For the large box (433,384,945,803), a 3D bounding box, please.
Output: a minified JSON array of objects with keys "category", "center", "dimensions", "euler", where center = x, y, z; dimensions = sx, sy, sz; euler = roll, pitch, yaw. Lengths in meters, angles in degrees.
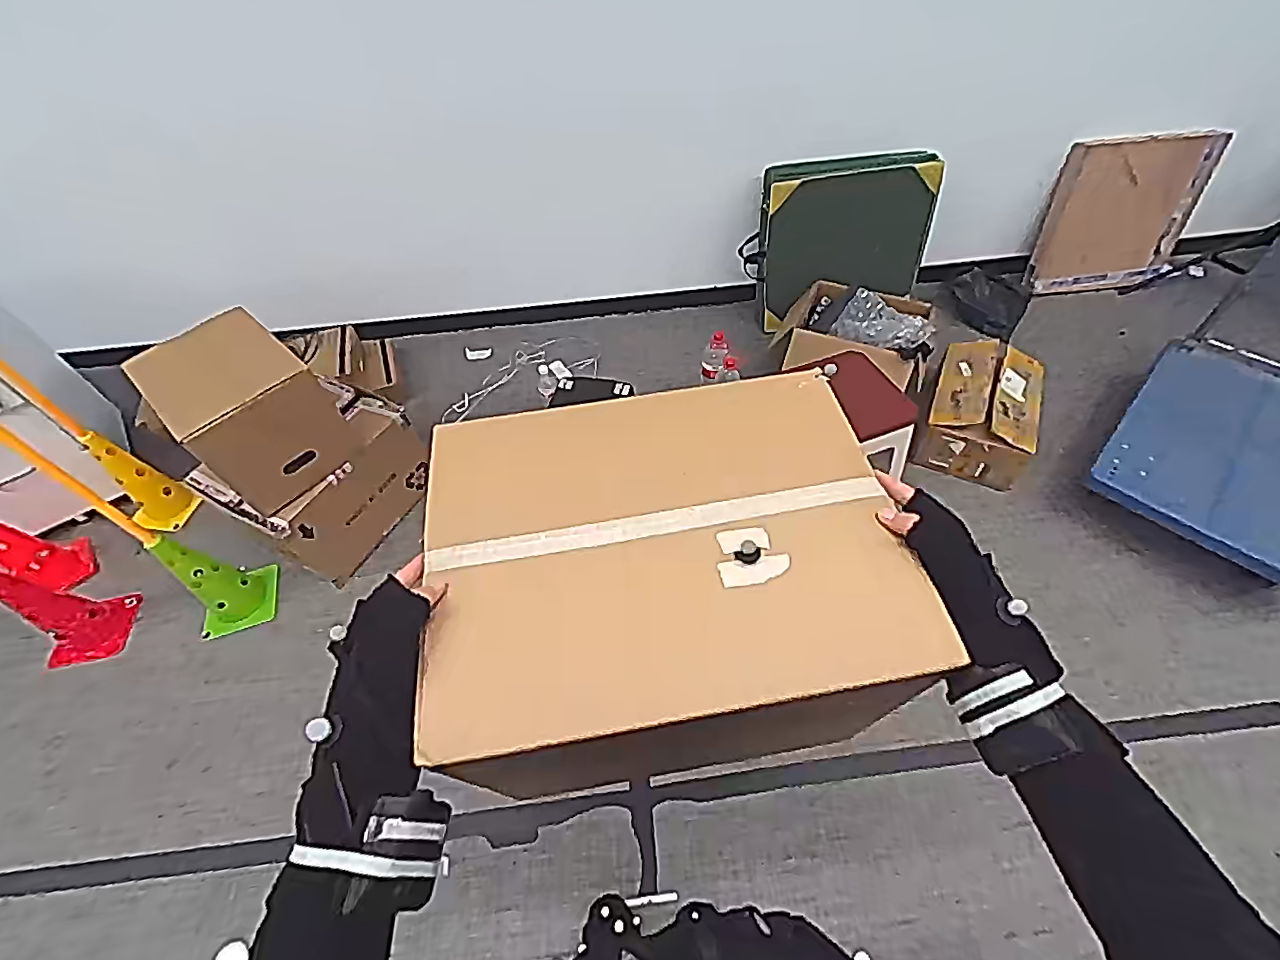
[{"category":"large box","center":[0.022,0.135,0.608],"dimensions":[0.408,0.320,0.320],"euler":[-9,55,-4]}]
